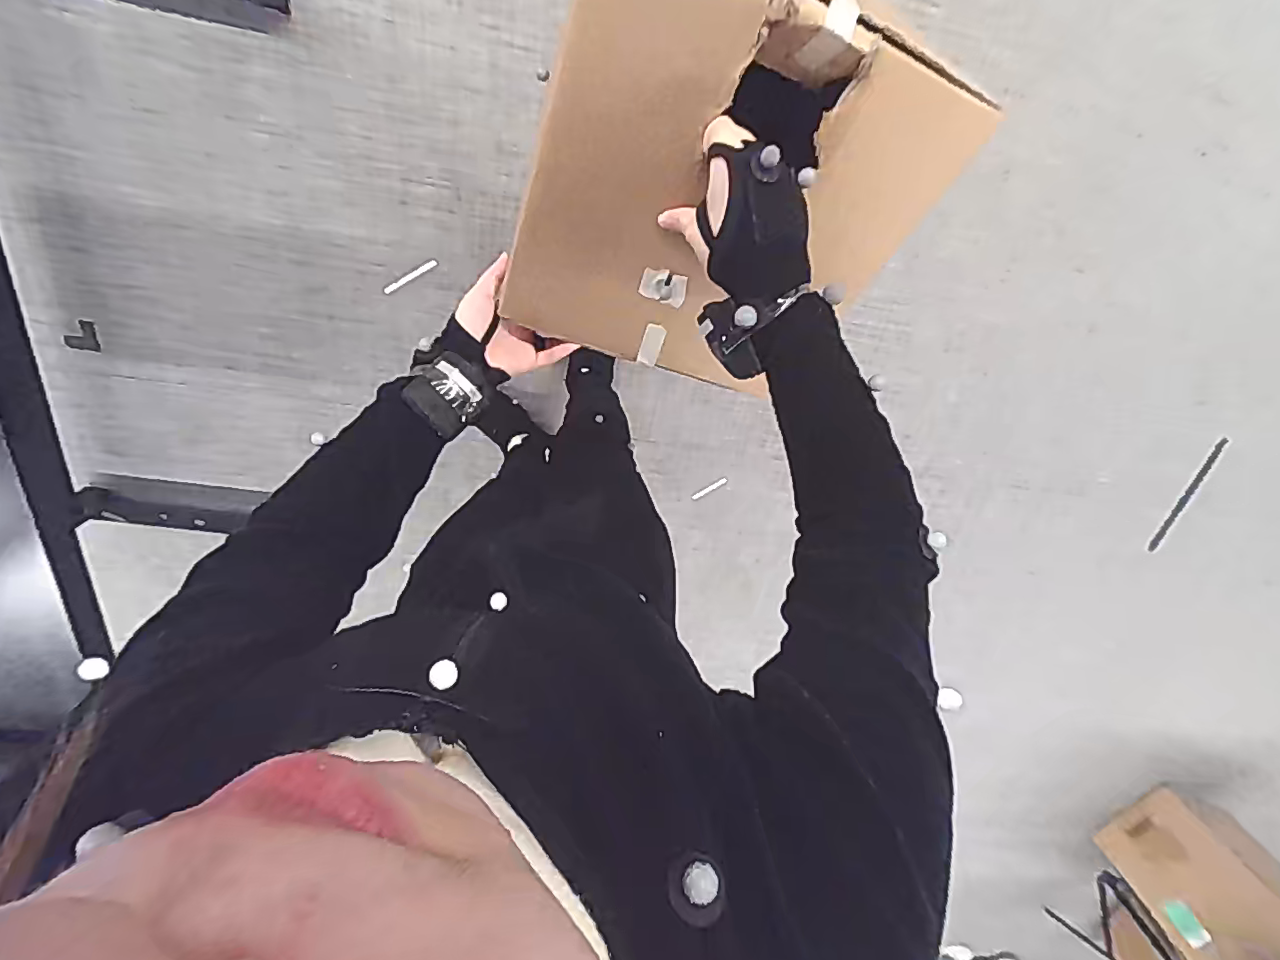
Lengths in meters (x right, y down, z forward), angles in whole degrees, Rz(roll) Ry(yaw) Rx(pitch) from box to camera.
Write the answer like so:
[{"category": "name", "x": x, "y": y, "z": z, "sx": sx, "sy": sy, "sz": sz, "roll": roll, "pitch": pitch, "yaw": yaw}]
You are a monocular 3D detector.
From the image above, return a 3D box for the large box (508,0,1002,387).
[{"category": "large box", "x": 0.059, "y": -0.368, "z": 0.566, "sx": 0.320, "sy": 0.408, "sz": 0.320, "roll": 13, "pitch": 140, "yaw": -19}]
